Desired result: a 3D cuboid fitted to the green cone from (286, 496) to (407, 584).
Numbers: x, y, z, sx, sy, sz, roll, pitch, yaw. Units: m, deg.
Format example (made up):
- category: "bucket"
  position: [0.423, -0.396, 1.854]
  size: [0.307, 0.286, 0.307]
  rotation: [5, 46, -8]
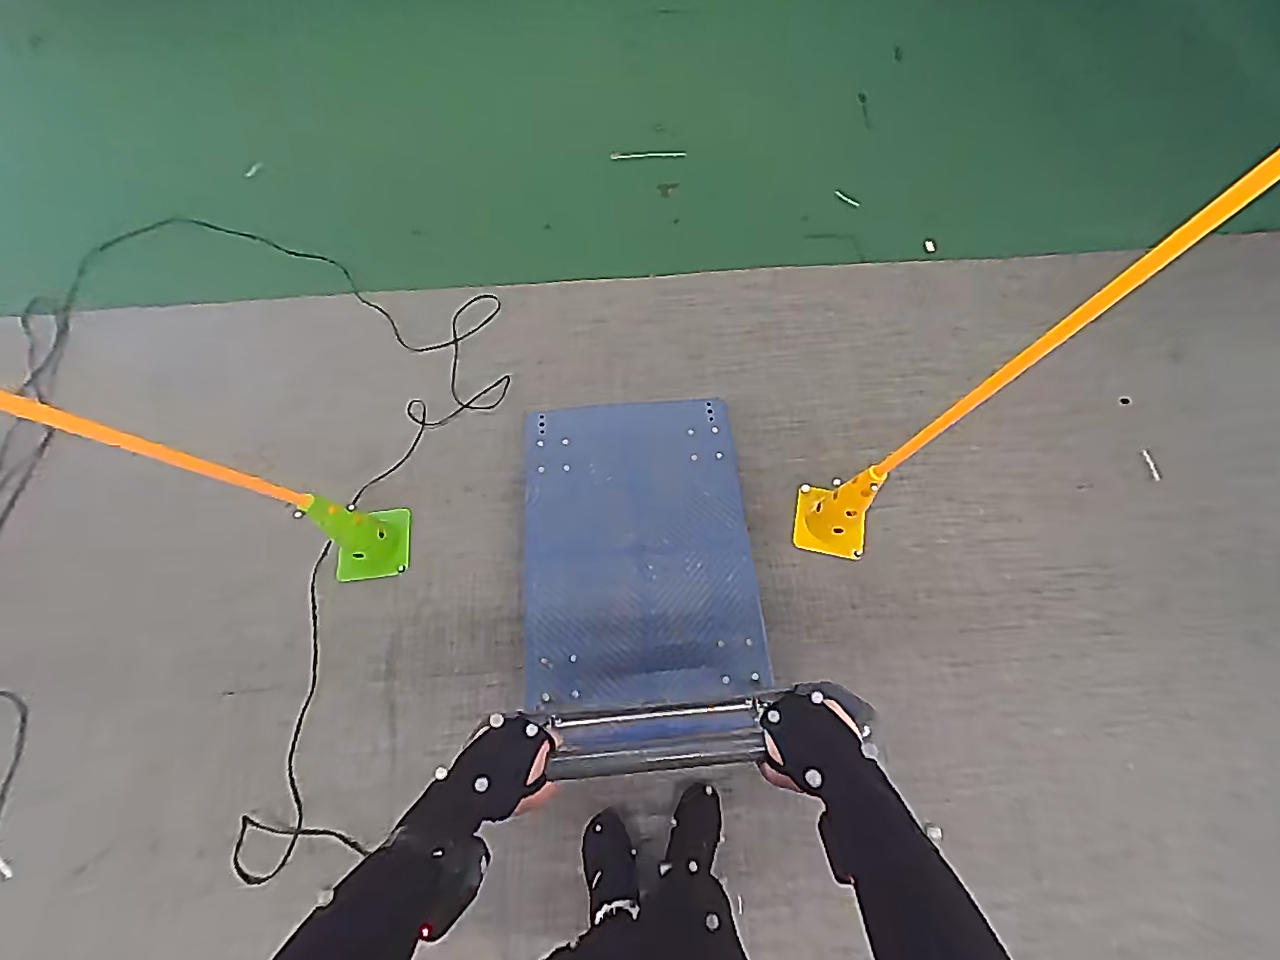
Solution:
- category: "green cone"
  position: [-0.778, 0.121, 1.396]
  size: [0.202, 0.368, 0.200]
  rotation: [-8, 66, -2]
